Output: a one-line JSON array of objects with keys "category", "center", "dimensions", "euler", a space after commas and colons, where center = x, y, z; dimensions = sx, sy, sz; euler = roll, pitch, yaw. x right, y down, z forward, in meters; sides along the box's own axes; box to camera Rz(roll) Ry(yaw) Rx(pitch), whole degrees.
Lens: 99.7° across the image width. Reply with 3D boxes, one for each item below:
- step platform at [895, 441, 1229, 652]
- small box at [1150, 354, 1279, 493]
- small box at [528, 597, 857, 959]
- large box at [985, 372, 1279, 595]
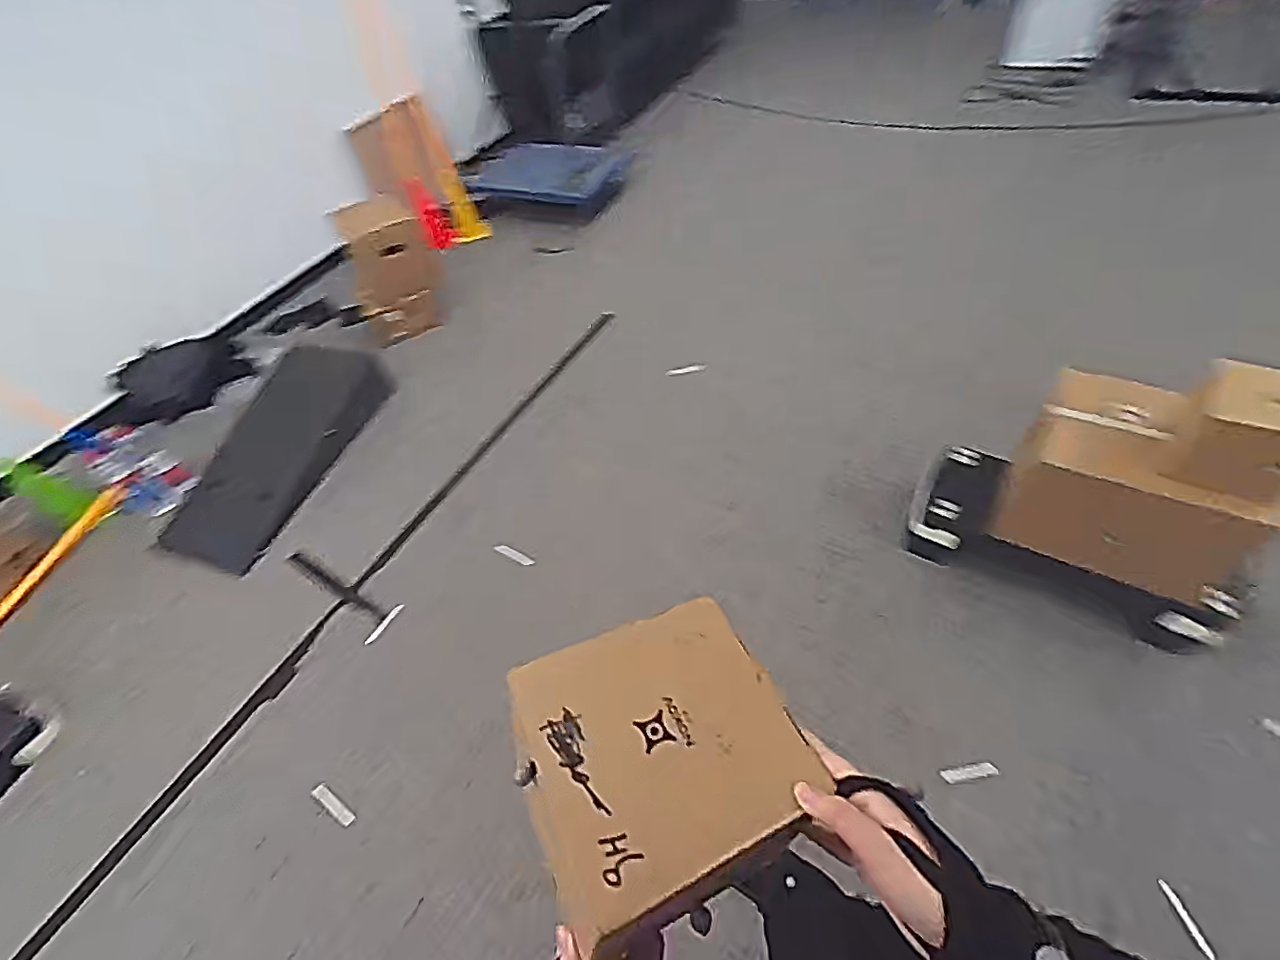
[{"category": "step platform", "center": [1.070, 0.145, 1.433], "dimensions": [0.684, 0.204, 0.286], "euler": [26, 61, 29]}, {"category": "small box", "center": [1.101, -0.099, 0.994], "dimensions": [0.179, 0.176, 0.168], "euler": [21, 60, 26]}, {"category": "small box", "center": [0.019, 0.223, 0.413], "dimensions": [0.179, 0.176, 0.168], "euler": [-12, 45, -23]}, {"category": "large box", "center": [1.085, 0.004, 1.234], "dimensions": [0.408, 0.320, 0.320], "euler": [20, 58, 26]}]
